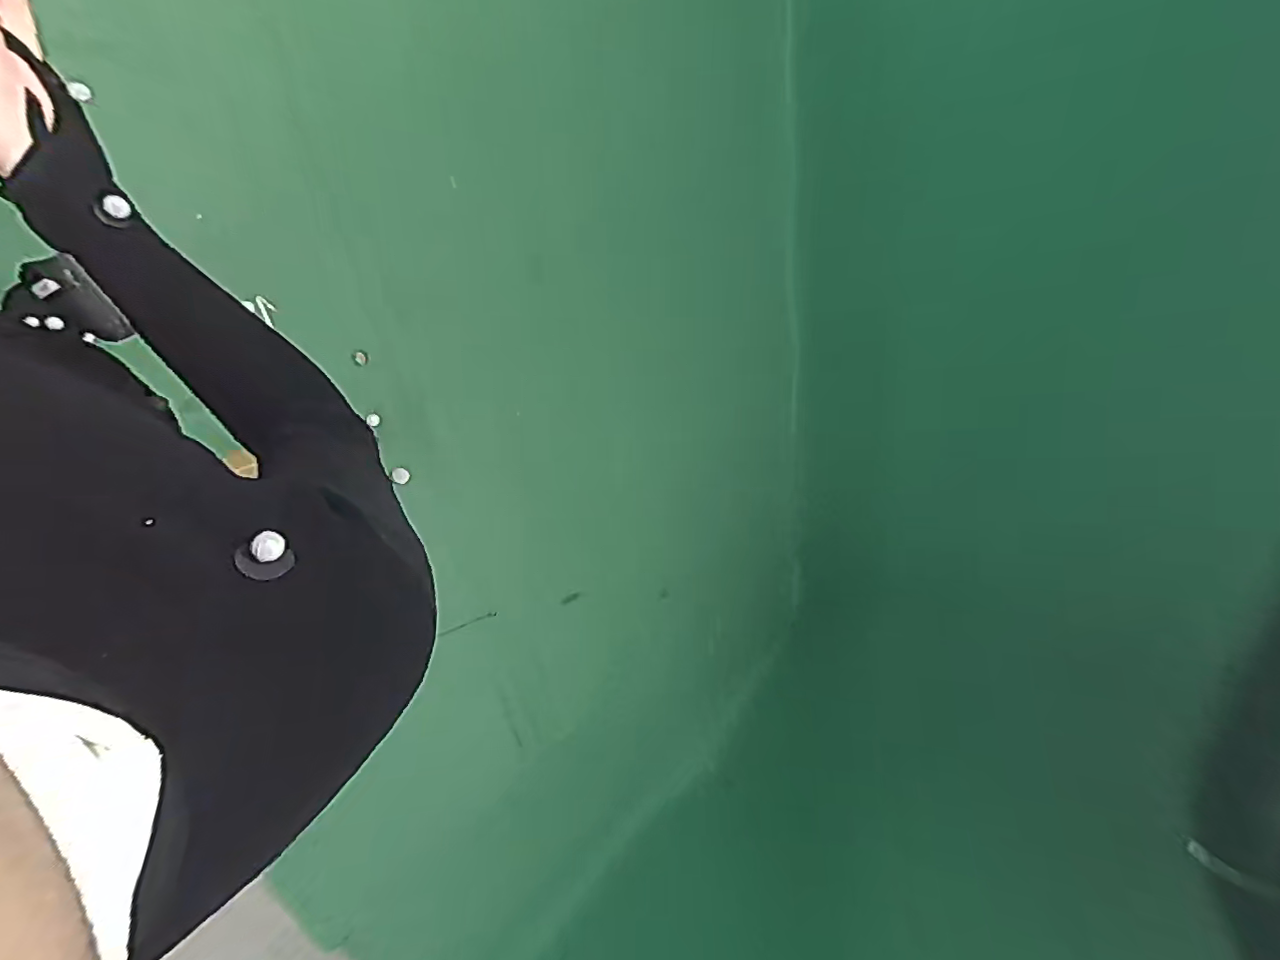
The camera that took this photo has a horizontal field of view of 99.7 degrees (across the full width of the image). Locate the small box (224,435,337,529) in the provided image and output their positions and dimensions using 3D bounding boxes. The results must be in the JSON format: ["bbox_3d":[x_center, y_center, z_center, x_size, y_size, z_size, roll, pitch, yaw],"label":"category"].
[{"bbox_3d":[-0.914,-0.004,1.375,0.179,0.176,0.168,-28,122,-36],"label":"small box"}]
